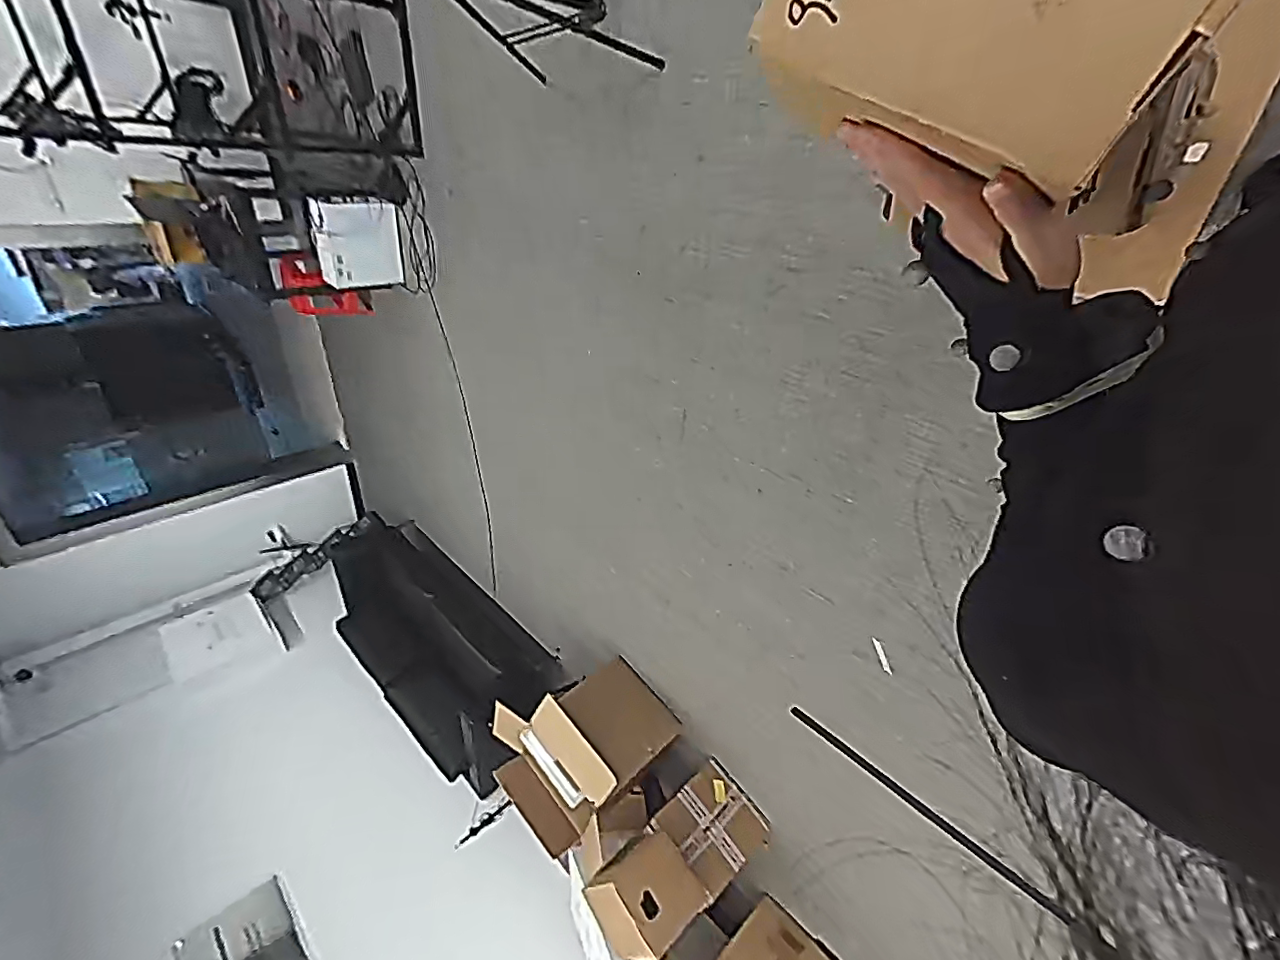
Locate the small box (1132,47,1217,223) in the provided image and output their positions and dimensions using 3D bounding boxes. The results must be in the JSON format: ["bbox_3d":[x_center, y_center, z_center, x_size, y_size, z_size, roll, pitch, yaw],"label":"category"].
[{"bbox_3d":[0.575,-0.425,0.685,0.179,0.176,0.168,27,127,37],"label":"small box"}]

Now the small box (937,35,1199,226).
[{"bbox_3d":[0.458,-0.368,0.585,0.179,0.176,0.168,22,123,39],"label":"small box"}]

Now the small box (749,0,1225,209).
[{"bbox_3d":[0.188,-0.264,0.289,0.179,0.176,0.168,32,119,10],"label":"small box"}]
